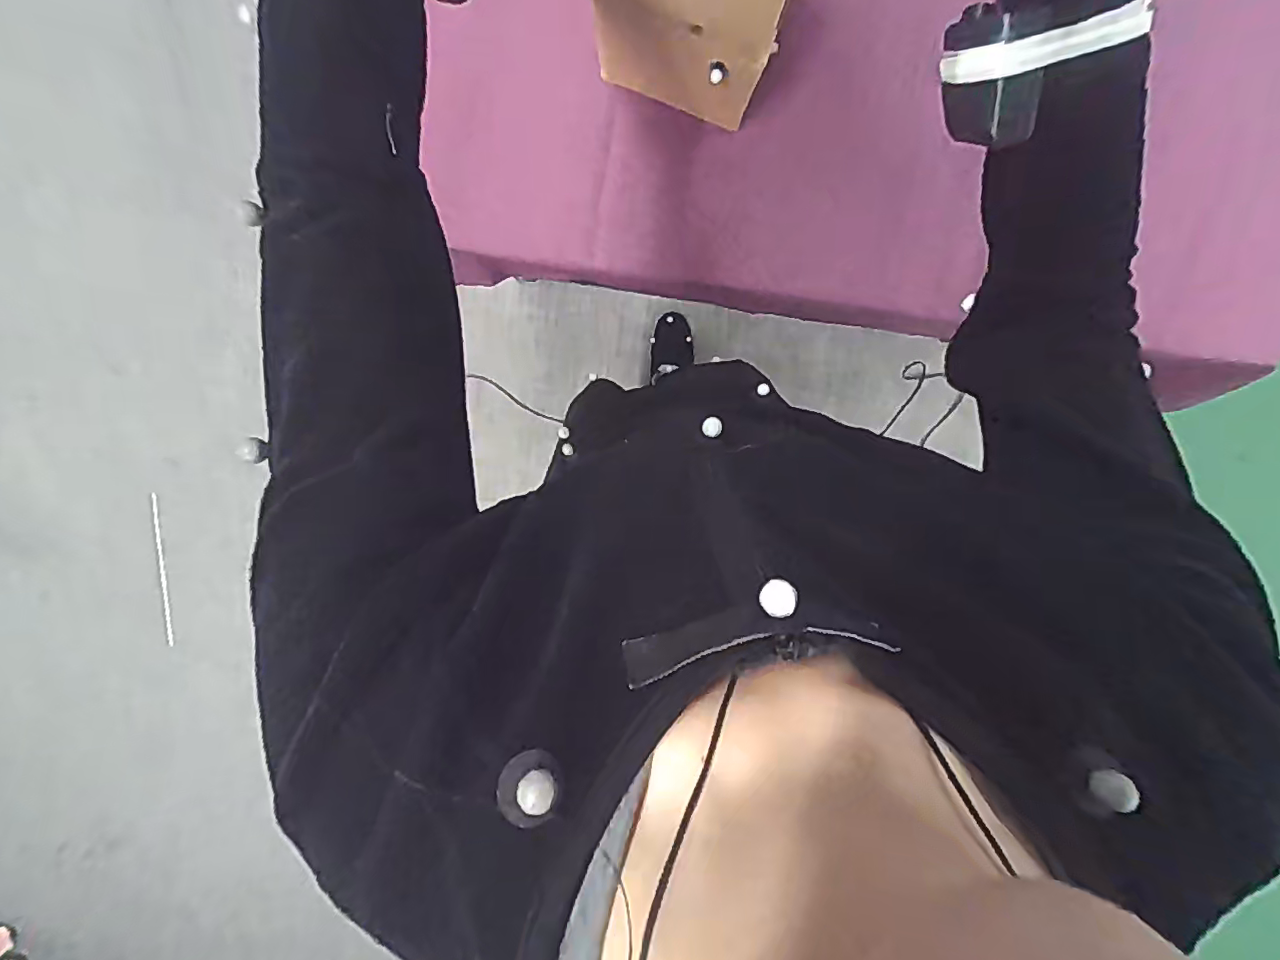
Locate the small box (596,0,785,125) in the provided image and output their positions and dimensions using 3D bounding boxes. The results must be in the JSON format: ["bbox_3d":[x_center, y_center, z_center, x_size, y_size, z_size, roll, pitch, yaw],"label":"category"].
[{"bbox_3d":[0.060,-0.509,0.562,0.179,0.176,0.168,18,103,-5],"label":"small box"}]
